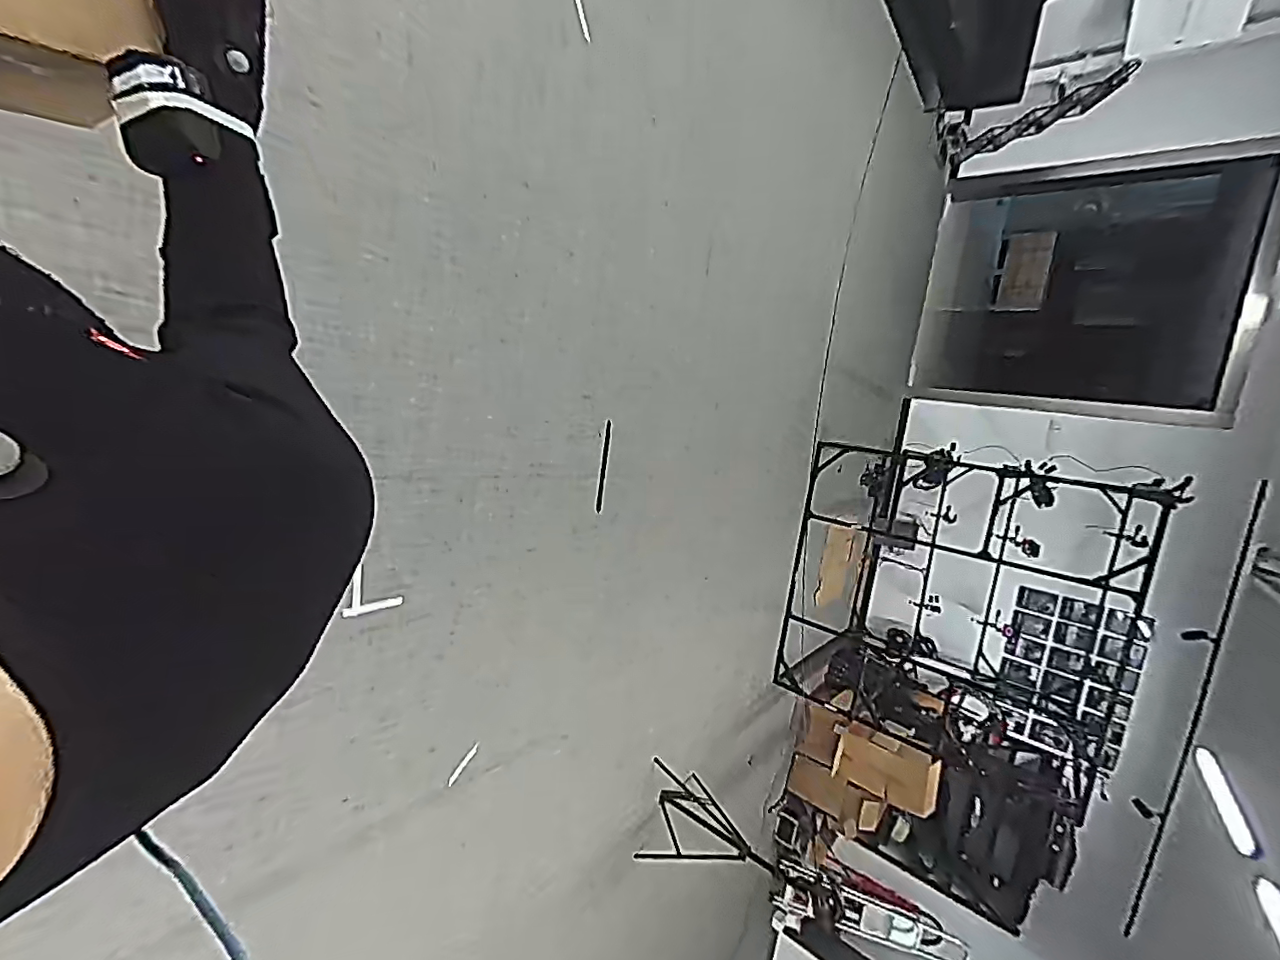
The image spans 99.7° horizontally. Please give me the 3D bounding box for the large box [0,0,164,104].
[{"bbox_3d":[-0.577,-0.458,0.287,0.408,0.320,0.320,-16,120,-51],"label":"large box"}]
